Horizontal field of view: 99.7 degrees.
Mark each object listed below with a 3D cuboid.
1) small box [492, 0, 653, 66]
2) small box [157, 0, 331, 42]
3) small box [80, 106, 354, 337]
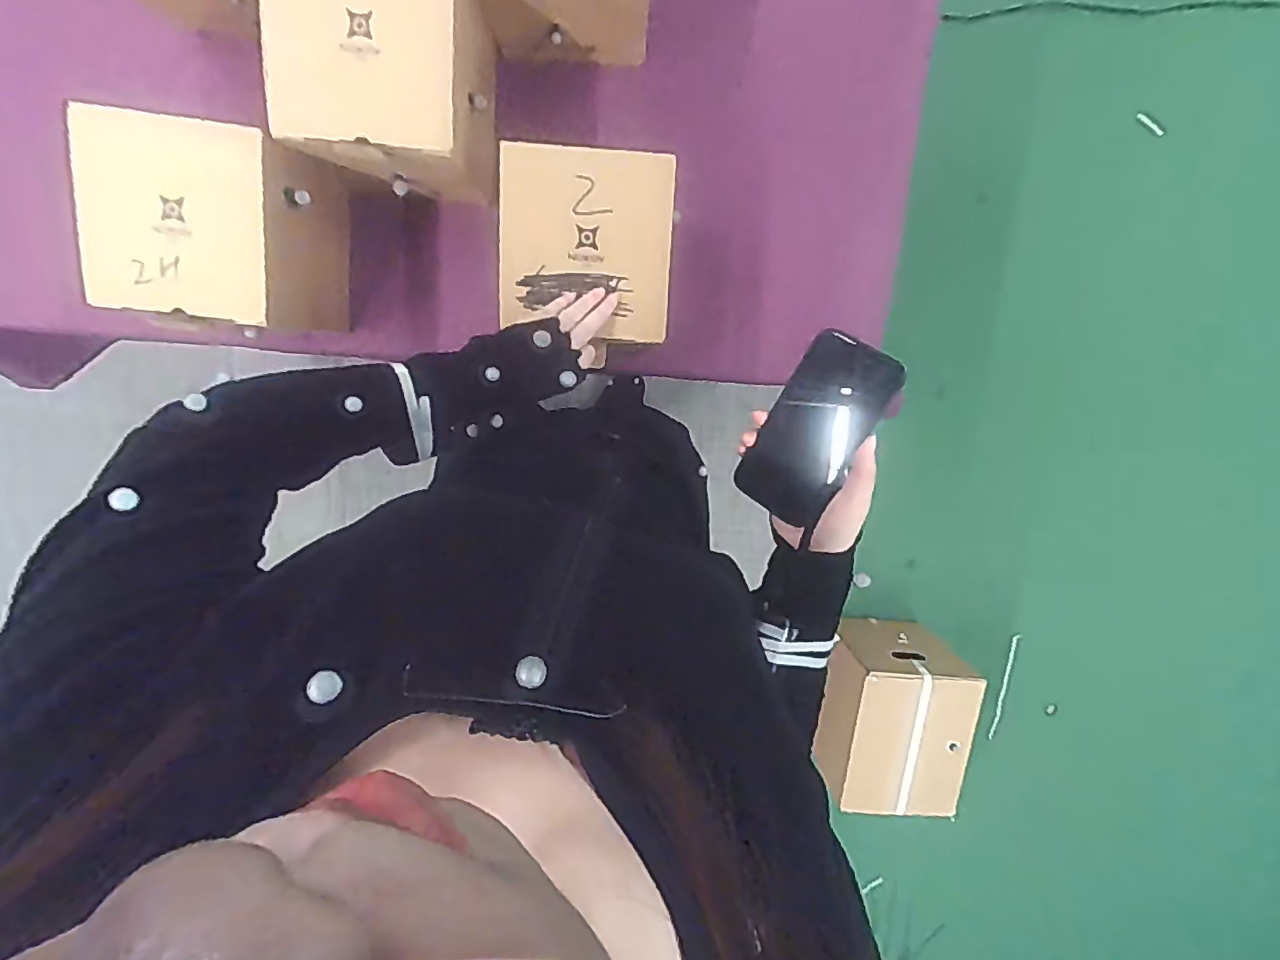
[{"bbox_3d":[-0.067,-0.552,0.528,0.168,0.176,0.179,2,104,-3],"label":"small box"},{"bbox_3d":[-0.416,-0.561,0.511,0.168,0.176,0.179,3,103,-4],"label":"small box"},{"bbox_3d":[-0.428,-0.255,0.579,0.168,0.176,0.179,7,102,-3],"label":"small box"}]
